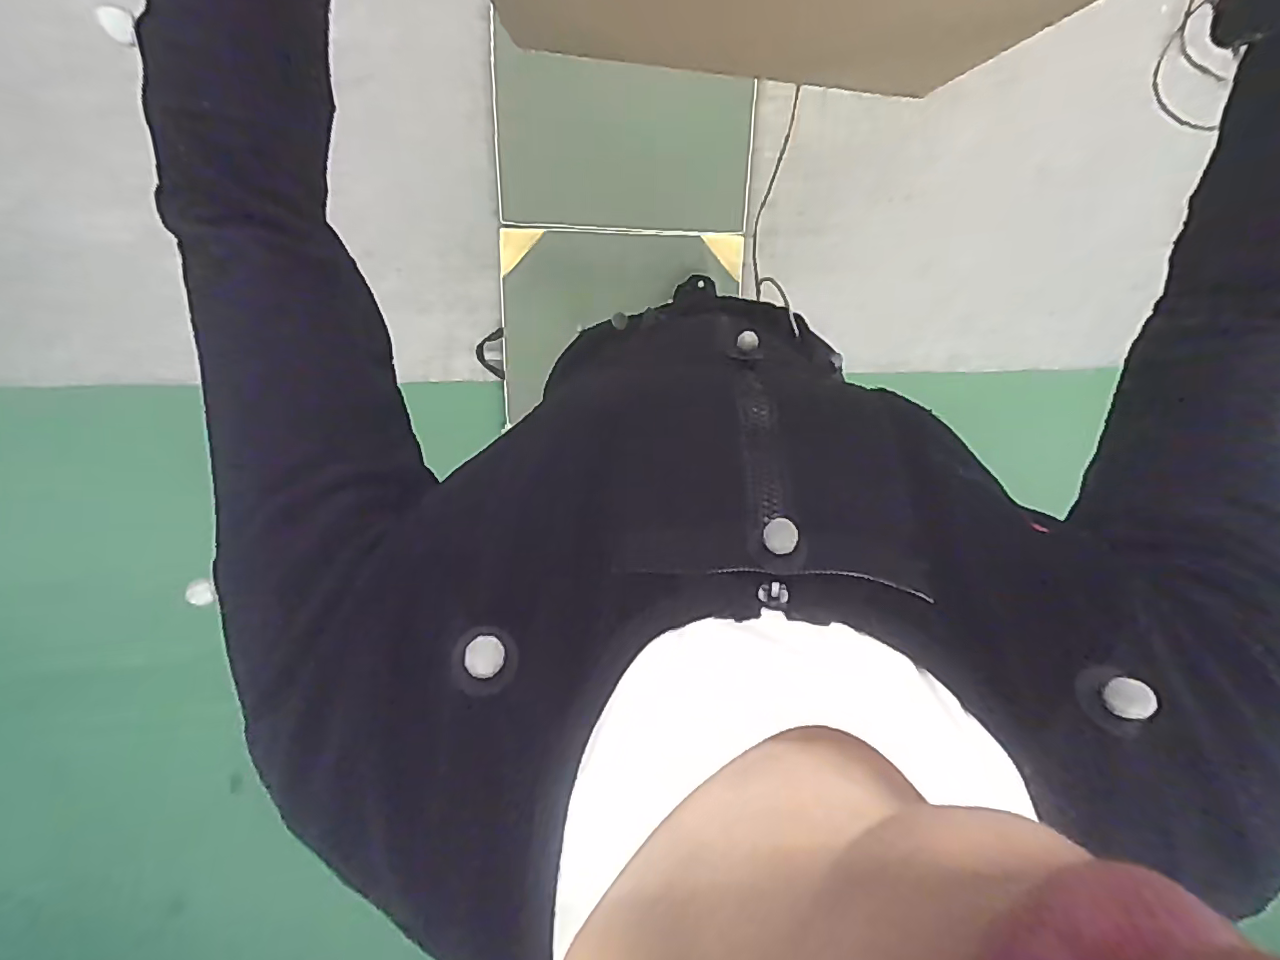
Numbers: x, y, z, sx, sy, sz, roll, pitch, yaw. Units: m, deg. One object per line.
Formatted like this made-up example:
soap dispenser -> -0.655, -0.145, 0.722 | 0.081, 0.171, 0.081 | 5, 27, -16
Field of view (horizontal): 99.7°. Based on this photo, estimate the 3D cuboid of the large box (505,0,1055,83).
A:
large box -> 0.098, -0.488, 0.333 | 0.408, 0.320, 0.320 | 4, 113, -3
